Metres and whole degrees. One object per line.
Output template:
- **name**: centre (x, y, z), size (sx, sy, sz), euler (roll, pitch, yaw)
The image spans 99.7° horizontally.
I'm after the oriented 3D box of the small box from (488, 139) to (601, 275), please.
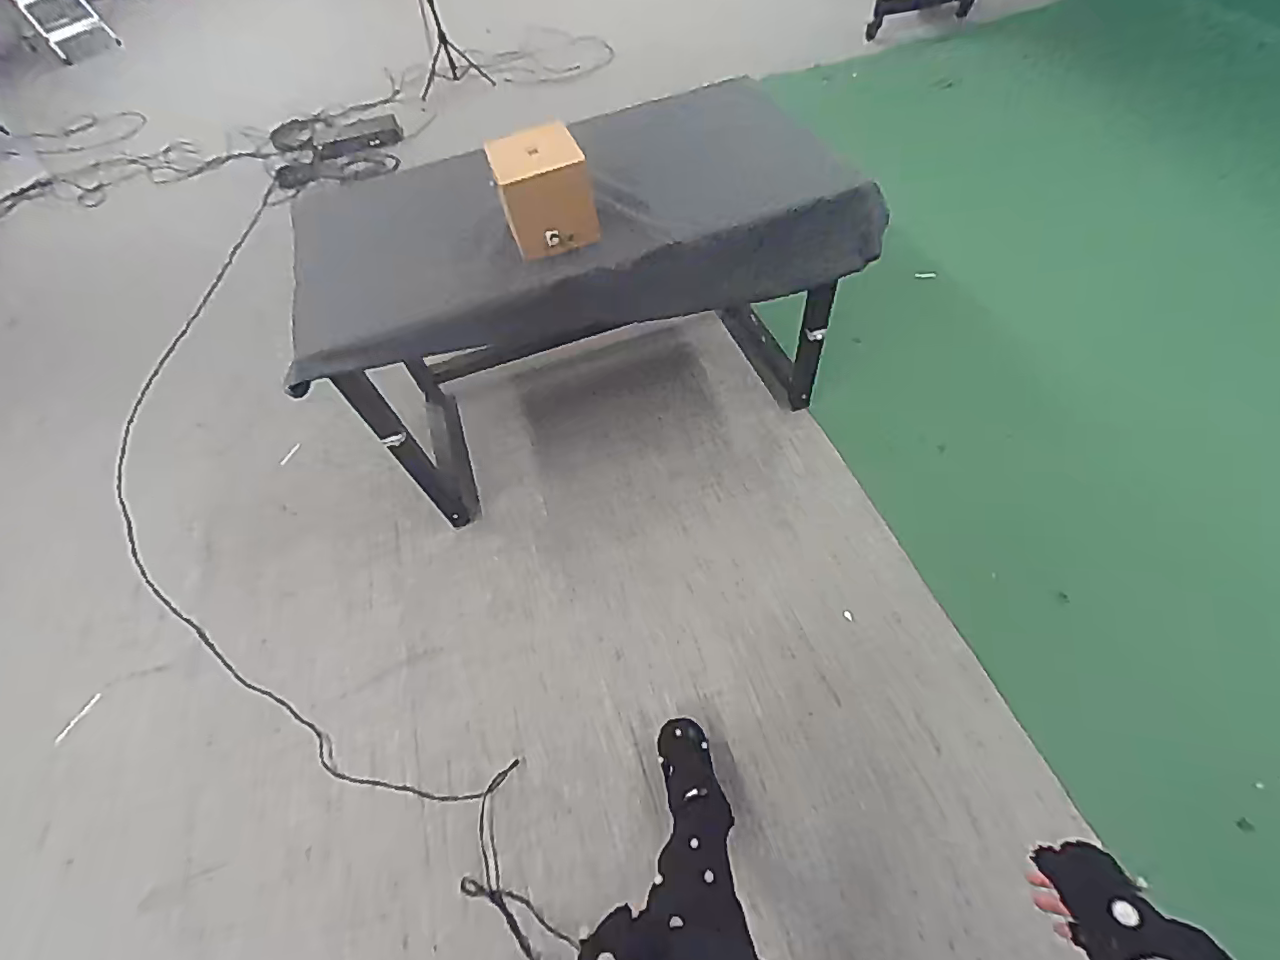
- **small box**: centre (-0.192, -0.553, 1.105), size (0.168, 0.176, 0.179), euler (-21, 57, -6)
